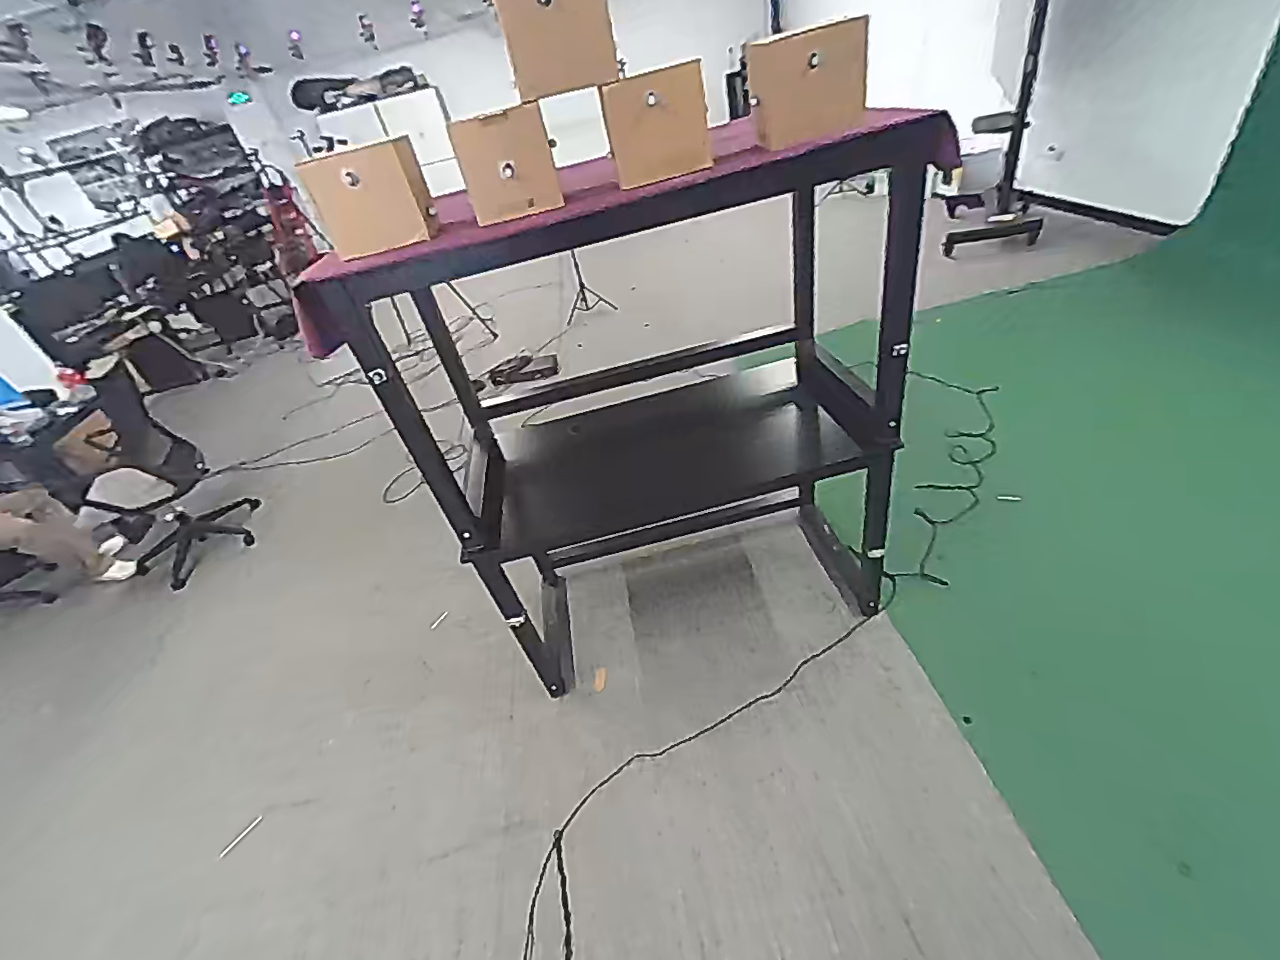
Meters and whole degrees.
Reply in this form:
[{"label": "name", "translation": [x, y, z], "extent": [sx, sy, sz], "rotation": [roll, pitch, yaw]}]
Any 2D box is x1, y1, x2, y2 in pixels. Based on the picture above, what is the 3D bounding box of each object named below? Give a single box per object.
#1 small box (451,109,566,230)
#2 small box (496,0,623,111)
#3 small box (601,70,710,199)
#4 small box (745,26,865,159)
[{"label": "small box", "translation": [-0.242, -0.594, 1.037], "extent": [0.168, 0.176, 0.179], "rotation": [-14, 36, 0]}, {"label": "small box", "translation": [-0.140, -0.759, 0.944], "extent": [0.179, 0.176, 0.168], "rotation": [-14, 36, -2]}, {"label": "small box", "translation": [0.032, -0.662, 1.036], "extent": [0.179, 0.176, 0.168], "rotation": [-15, 36, 2]}, {"label": "small box", "translation": [0.311, -0.730, 1.028], "extent": [0.179, 0.176, 0.168], "rotation": [-12, 38, 4]}]
